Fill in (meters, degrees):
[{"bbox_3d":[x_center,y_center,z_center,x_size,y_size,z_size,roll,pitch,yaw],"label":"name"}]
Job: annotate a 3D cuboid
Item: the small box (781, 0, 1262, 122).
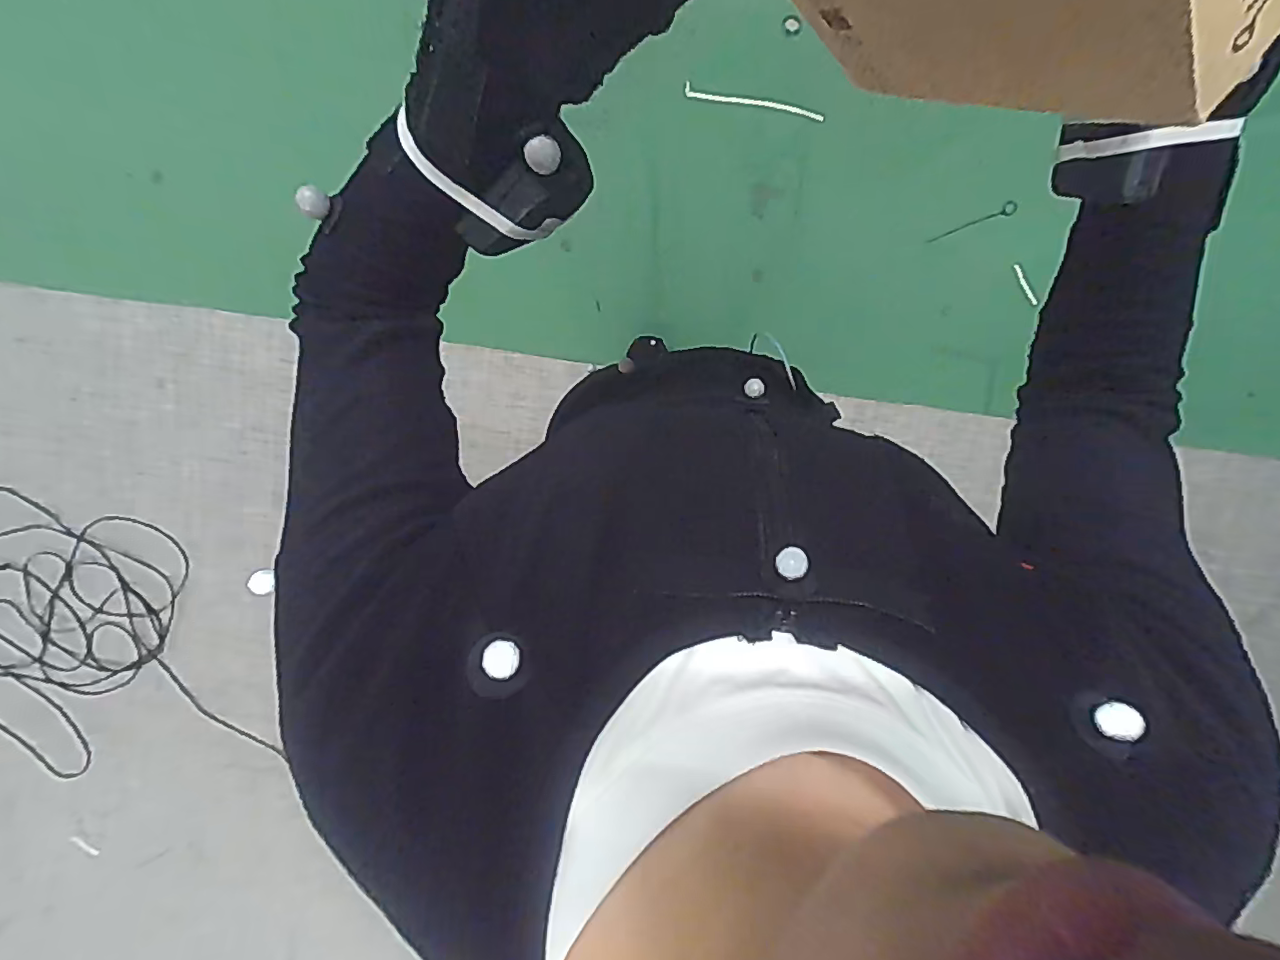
[{"bbox_3d":[0.147,-0.268,0.184,0.168,0.176,0.179,10,118,-42],"label":"small box"}]
